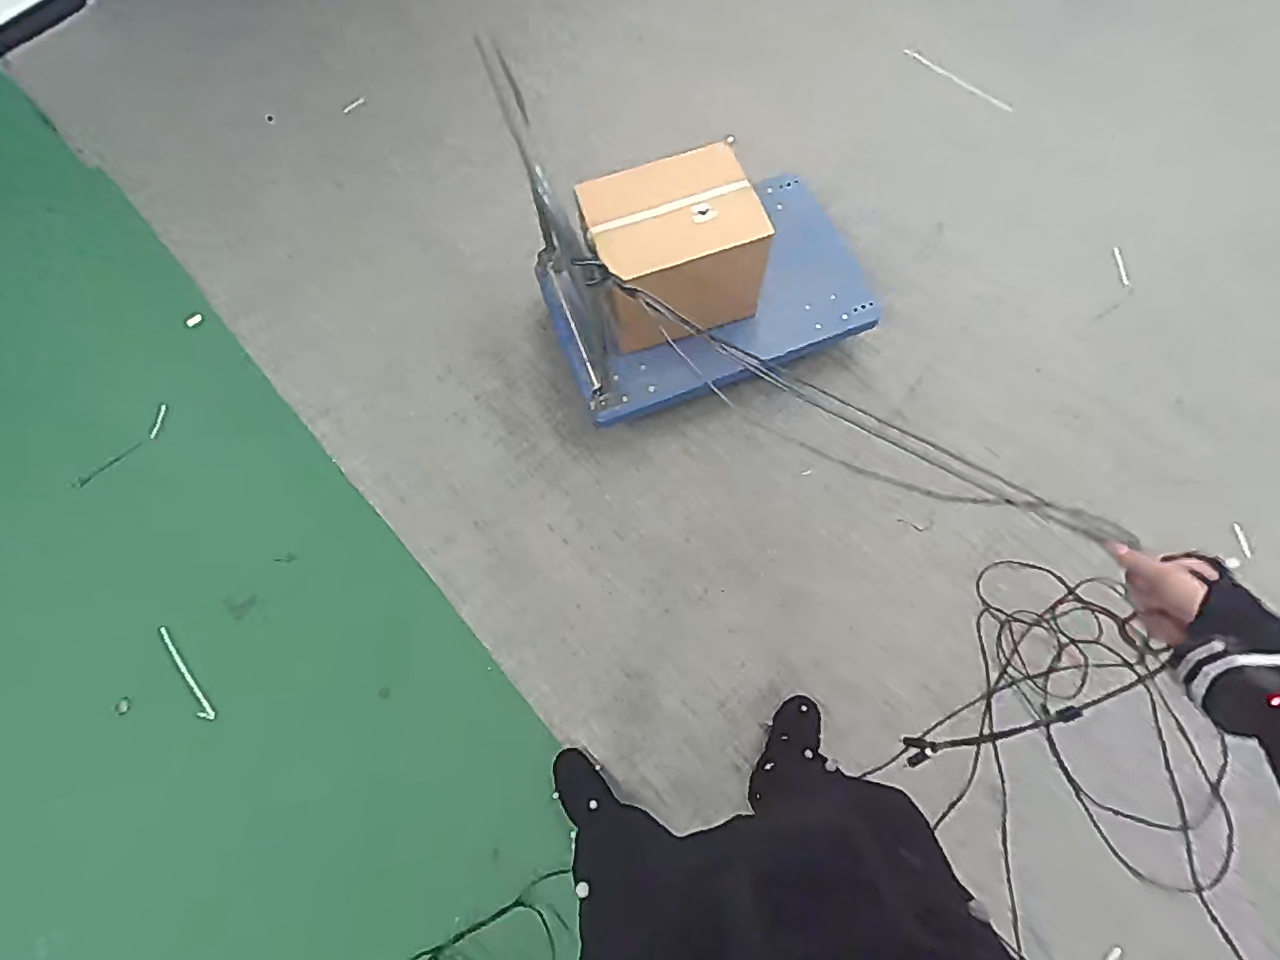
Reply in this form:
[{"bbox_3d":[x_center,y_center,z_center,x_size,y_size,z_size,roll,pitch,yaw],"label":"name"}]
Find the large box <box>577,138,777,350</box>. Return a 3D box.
[{"bbox_3d":[0.088,-0.597,1.410,0.408,0.320,0.320,-18,73,-3],"label":"large box"}]
